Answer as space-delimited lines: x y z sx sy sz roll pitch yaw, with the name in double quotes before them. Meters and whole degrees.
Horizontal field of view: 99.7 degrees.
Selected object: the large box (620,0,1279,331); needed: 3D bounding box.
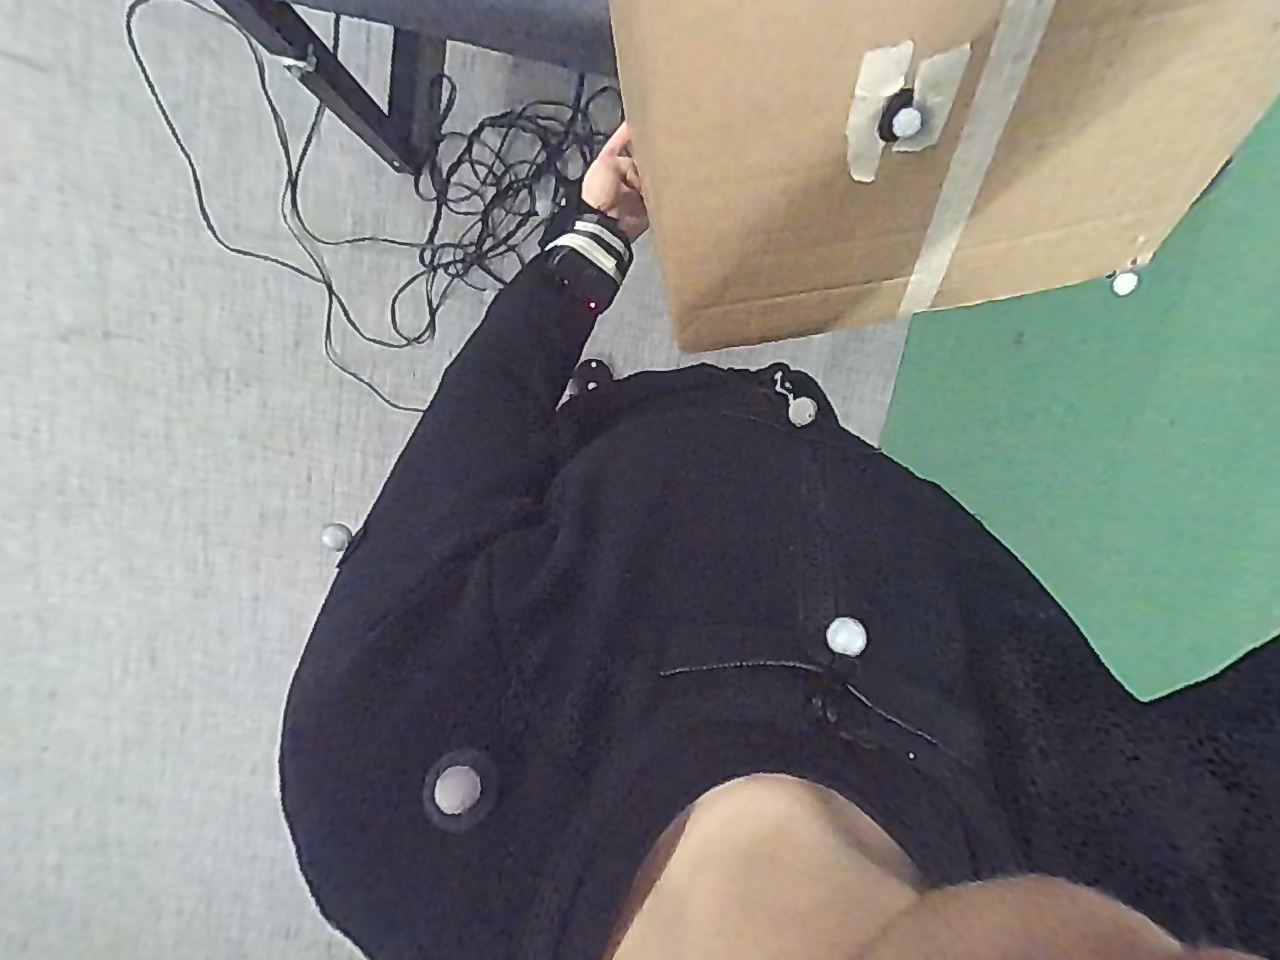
"large box" 0.138 -0.359 0.283 0.320 0.408 0.320 -11 60 3
